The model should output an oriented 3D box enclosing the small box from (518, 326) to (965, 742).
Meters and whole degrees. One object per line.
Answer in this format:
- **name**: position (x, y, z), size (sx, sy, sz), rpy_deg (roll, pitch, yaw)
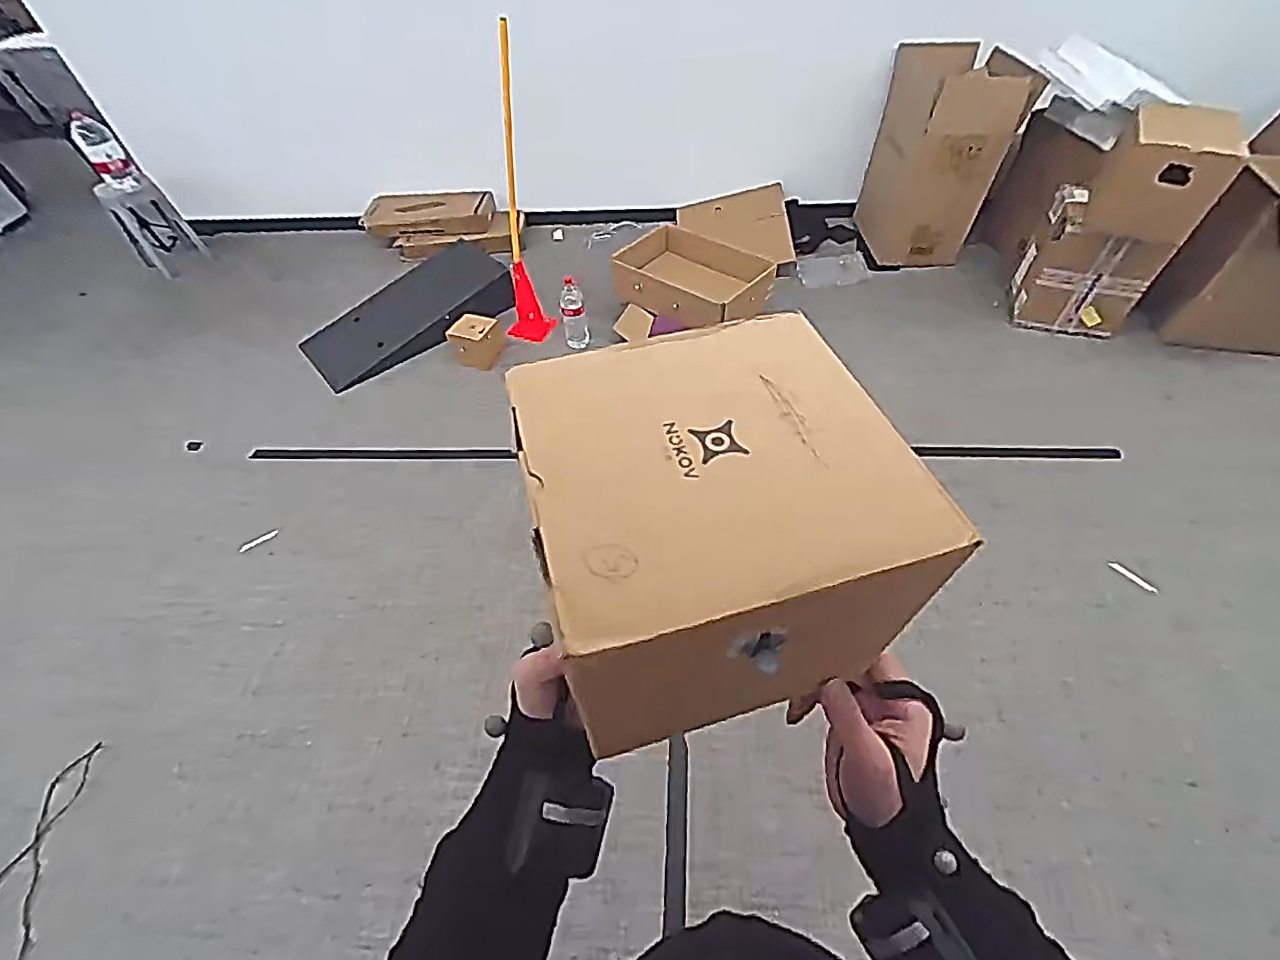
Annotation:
- **small box**: position (0.038, 0.037, 0.327), size (0.179, 0.176, 0.168), rpy_deg (-13, 54, -11)
